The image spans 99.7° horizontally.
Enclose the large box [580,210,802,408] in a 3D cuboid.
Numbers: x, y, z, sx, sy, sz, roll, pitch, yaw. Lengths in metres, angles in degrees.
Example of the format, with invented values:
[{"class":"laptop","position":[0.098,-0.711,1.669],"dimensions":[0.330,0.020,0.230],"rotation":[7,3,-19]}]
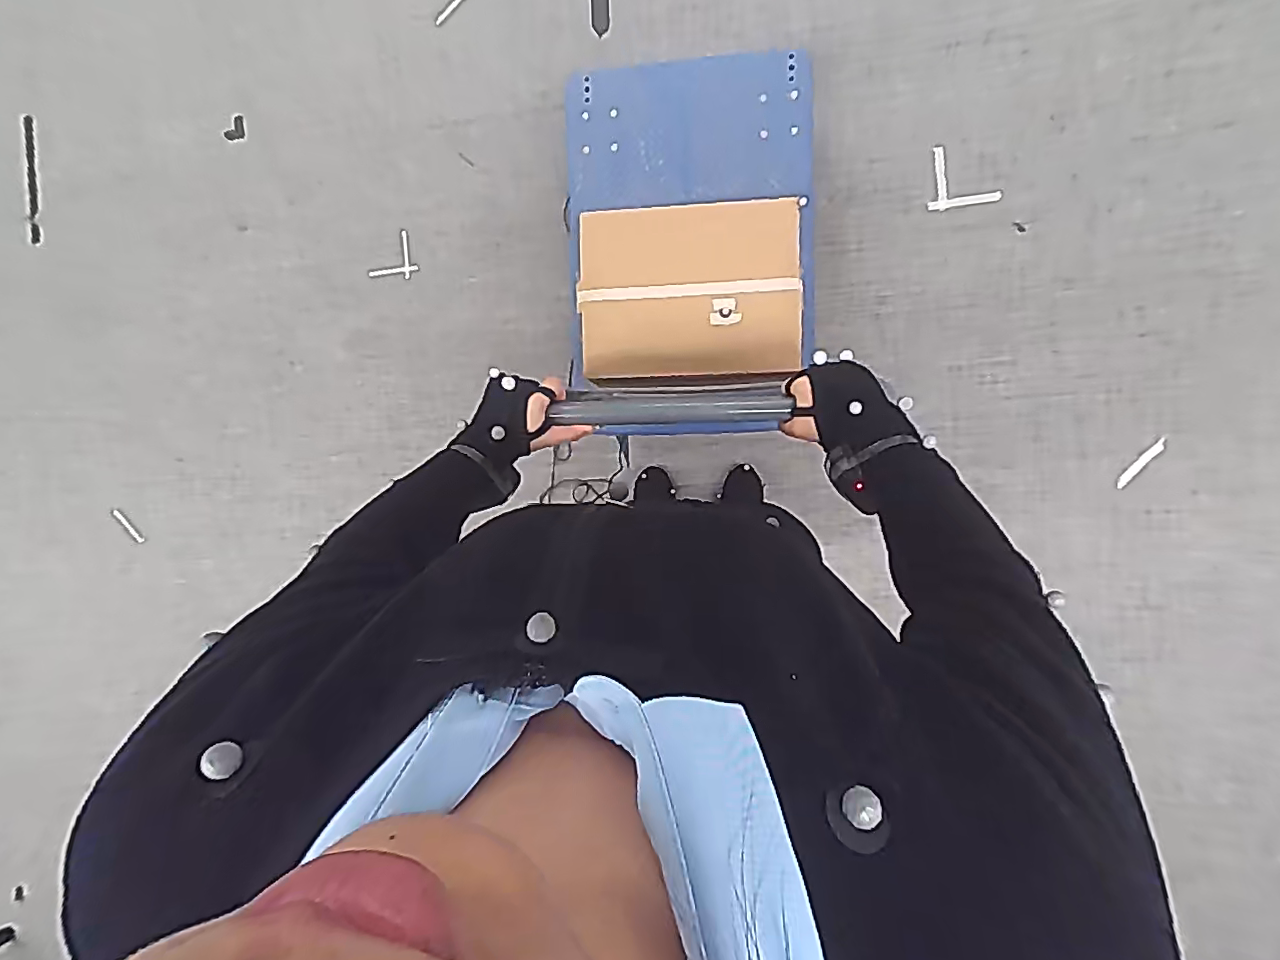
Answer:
[{"class":"large box","position":[0.102,-0.329,1.136],"dimensions":[0.408,0.320,0.320],"rotation":[-1,92,5]}]
